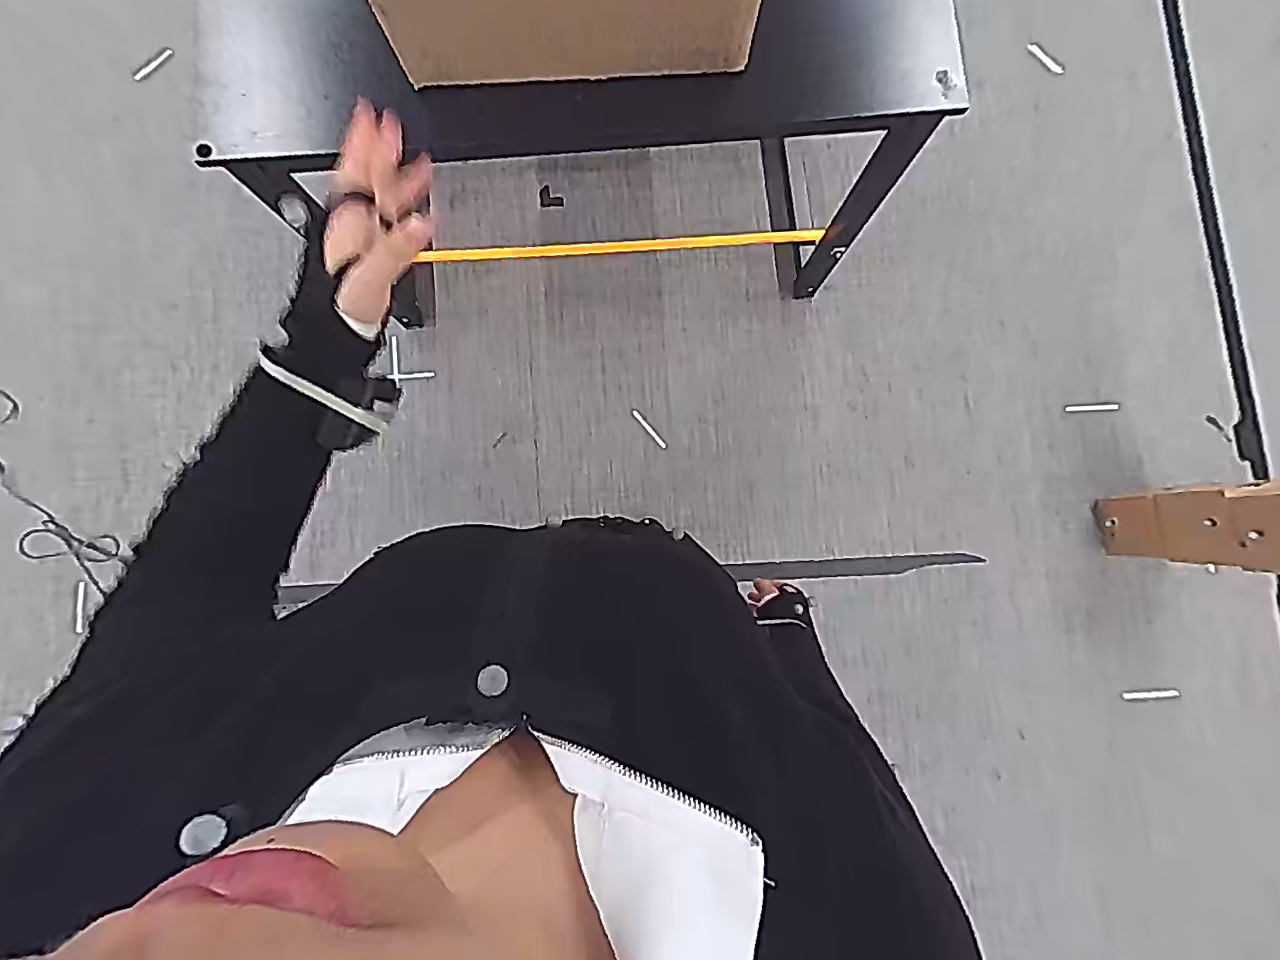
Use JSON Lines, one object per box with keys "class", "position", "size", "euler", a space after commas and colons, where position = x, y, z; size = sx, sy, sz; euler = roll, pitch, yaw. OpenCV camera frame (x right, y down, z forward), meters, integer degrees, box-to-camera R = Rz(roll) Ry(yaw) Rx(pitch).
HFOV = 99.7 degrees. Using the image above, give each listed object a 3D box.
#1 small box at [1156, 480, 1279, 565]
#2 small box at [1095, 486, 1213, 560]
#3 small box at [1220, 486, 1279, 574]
{"class": "small box", "position": [1.378, 0.103, 1.271], "size": [0.168, 0.176, 0.179], "euler": [-9, 85, -1]}
{"class": "small box", "position": [1.375, 0.114, 1.435], "size": [0.179, 0.176, 0.168], "euler": [-11, 84, 0]}
{"class": "small box", "position": [1.375, 0.096, 1.106], "size": [0.179, 0.176, 0.168], "euler": [-12, 84, -1]}
